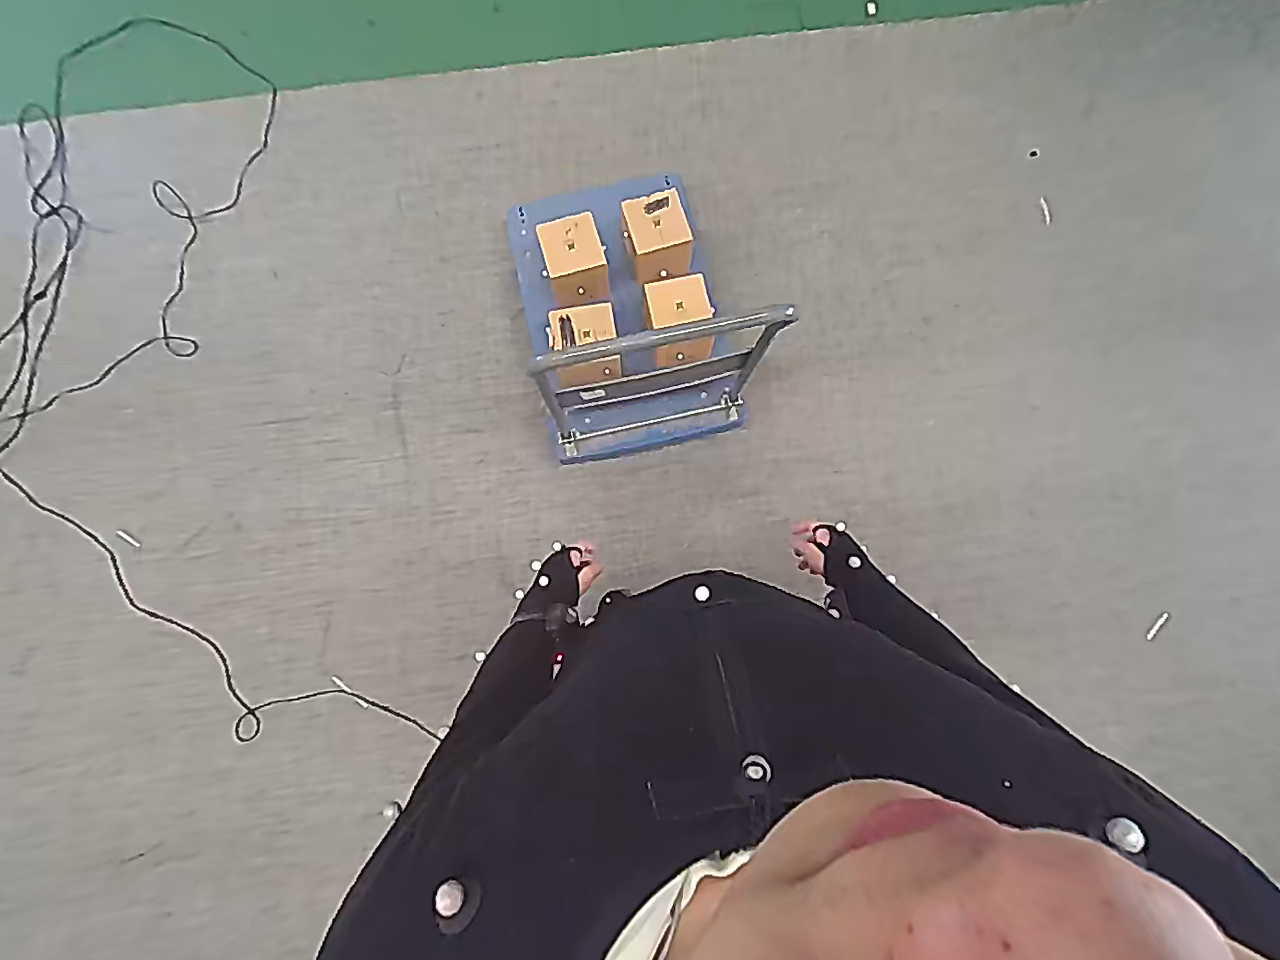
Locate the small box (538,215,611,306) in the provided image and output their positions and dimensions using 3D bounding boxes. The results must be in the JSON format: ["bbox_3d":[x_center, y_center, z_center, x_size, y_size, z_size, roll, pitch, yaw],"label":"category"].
[{"bbox_3d":[-0.186,-0.633,1.583,0.168,0.176,0.179,-16,79,-3],"label":"small box"}]

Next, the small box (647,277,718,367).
[{"bbox_3d":[0.115,-0.446,1.542,0.168,0.176,0.179,-12,79,-2],"label":"small box"}]

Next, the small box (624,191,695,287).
[{"bbox_3d":[0.055,-0.704,1.594,0.168,0.176,0.179,-16,80,-2],"label":"small box"}]
